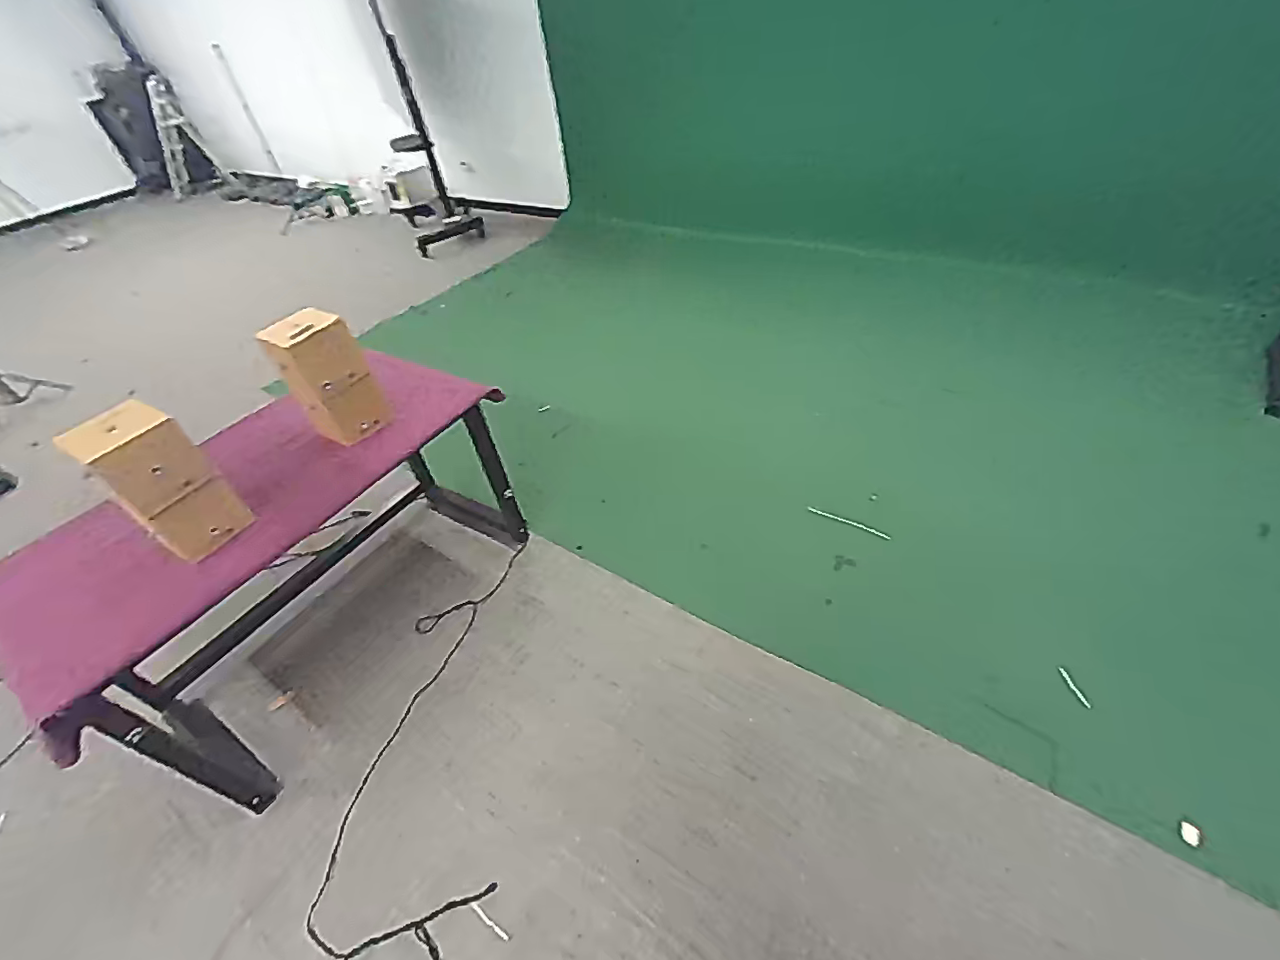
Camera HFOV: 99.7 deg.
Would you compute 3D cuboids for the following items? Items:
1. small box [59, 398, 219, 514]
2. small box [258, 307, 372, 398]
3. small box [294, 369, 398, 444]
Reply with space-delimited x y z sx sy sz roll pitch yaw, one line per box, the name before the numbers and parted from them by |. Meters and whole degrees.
small box | -1.088 -0.050 1.190 0.179 0.176 0.168 19 50 26
small box | -0.869 -0.343 1.461 0.179 0.176 0.168 20 52 30
small box | -0.850 -0.228 1.576 0.179 0.176 0.168 22 53 29
